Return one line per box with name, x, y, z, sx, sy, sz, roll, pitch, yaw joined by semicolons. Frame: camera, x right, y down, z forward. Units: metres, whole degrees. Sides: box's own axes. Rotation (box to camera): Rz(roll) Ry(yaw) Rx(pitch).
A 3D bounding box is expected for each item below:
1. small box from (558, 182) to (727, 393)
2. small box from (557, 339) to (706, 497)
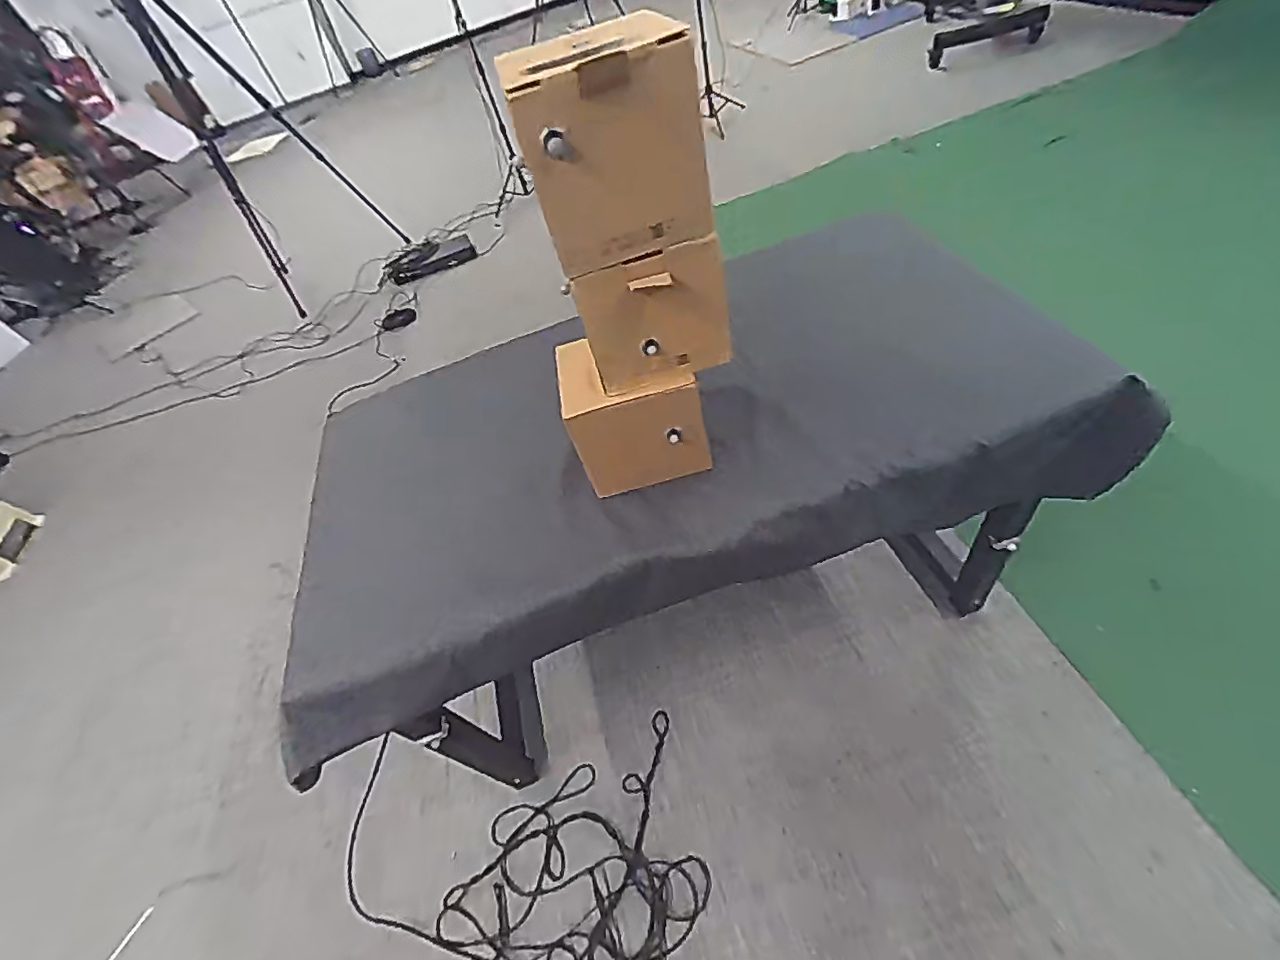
small box;0.004;-0.239;0.680;0.168;0.176;0.179;-16;48;2
small box;-0.008;-0.101;0.784;0.179;0.176;0.168;-16;47;4
